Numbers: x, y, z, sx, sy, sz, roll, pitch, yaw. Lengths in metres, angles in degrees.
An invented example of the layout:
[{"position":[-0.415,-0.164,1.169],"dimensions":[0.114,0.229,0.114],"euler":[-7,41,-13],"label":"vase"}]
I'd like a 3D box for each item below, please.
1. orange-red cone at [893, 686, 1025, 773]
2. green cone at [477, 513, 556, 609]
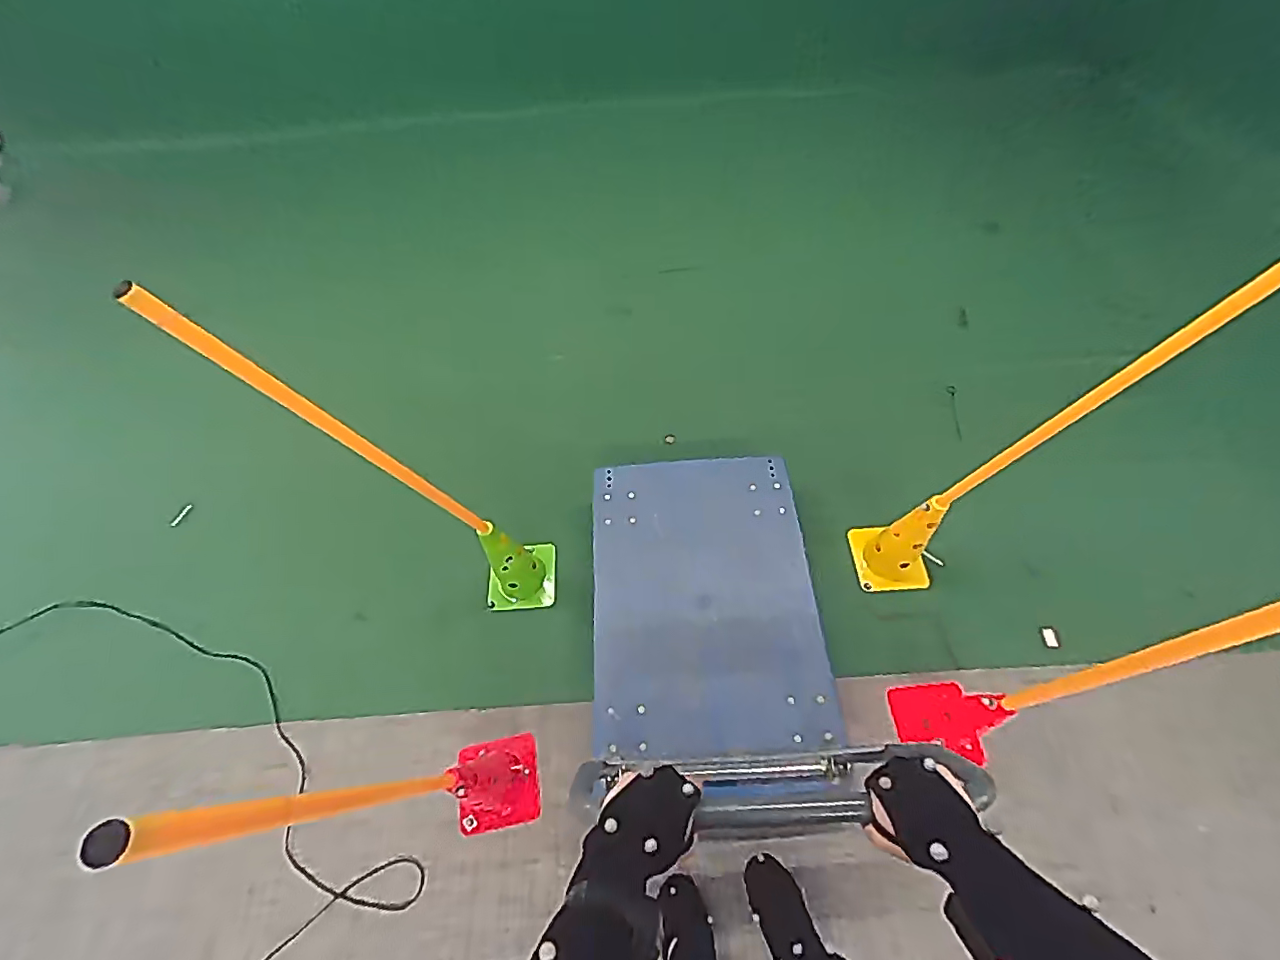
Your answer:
[{"position":[0.745,0.534,1.213],"dimensions":[0.198,0.360,0.199],"euler":[-4,58,1],"label":"orange-red cone"},{"position":[-0.365,0.195,1.475],"dimensions":[0.200,0.368,0.202],"euler":[-5,58,1],"label":"green cone"}]
